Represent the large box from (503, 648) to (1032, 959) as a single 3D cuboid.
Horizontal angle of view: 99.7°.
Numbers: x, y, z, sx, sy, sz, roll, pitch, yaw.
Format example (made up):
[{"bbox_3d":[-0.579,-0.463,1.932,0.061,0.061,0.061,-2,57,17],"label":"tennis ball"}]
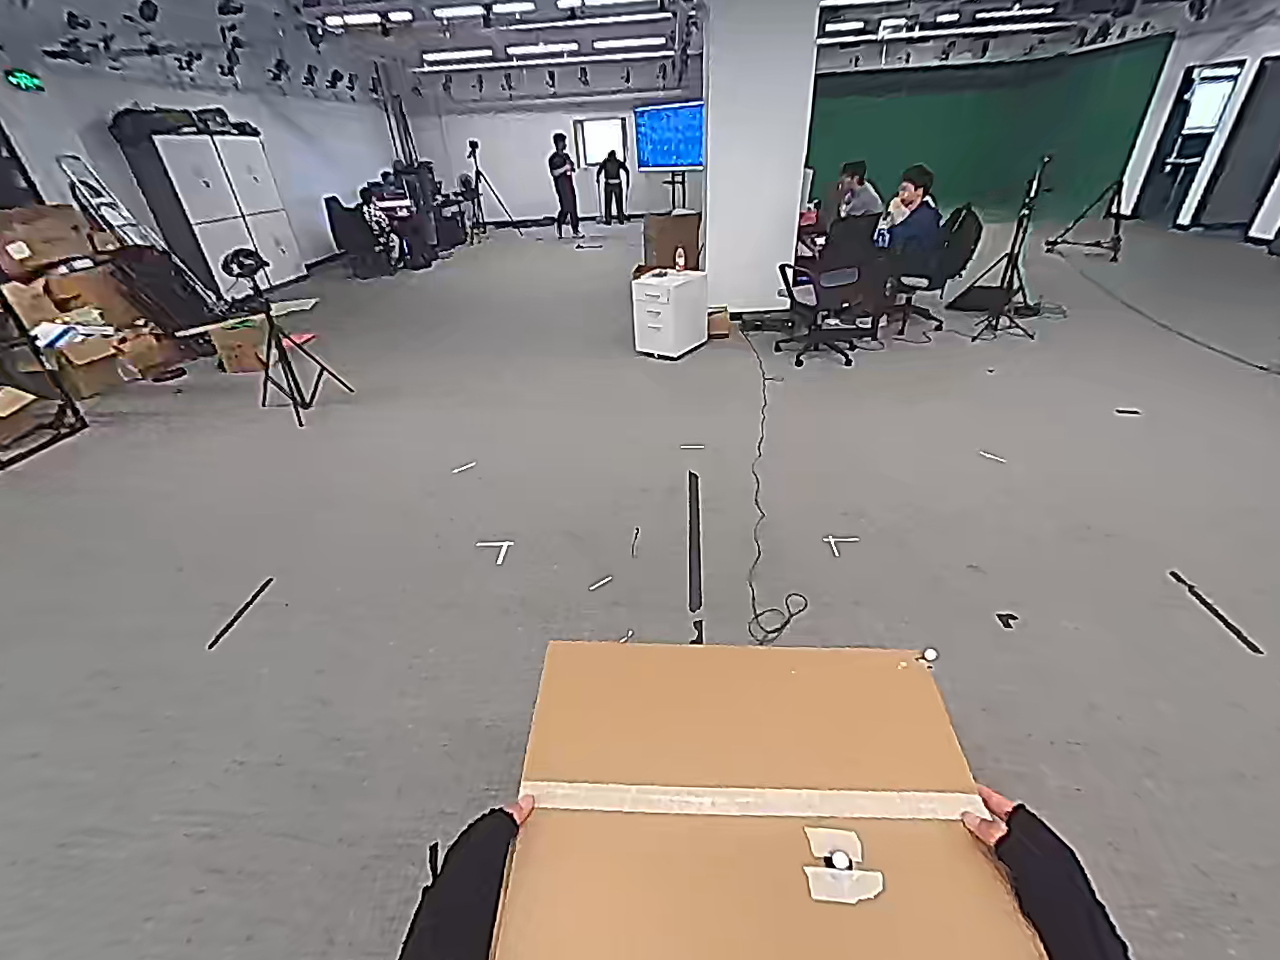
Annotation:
[{"bbox_3d":[0.098,0.403,0.581,0.408,0.320,0.320,1,41,2],"label":"large box"}]
